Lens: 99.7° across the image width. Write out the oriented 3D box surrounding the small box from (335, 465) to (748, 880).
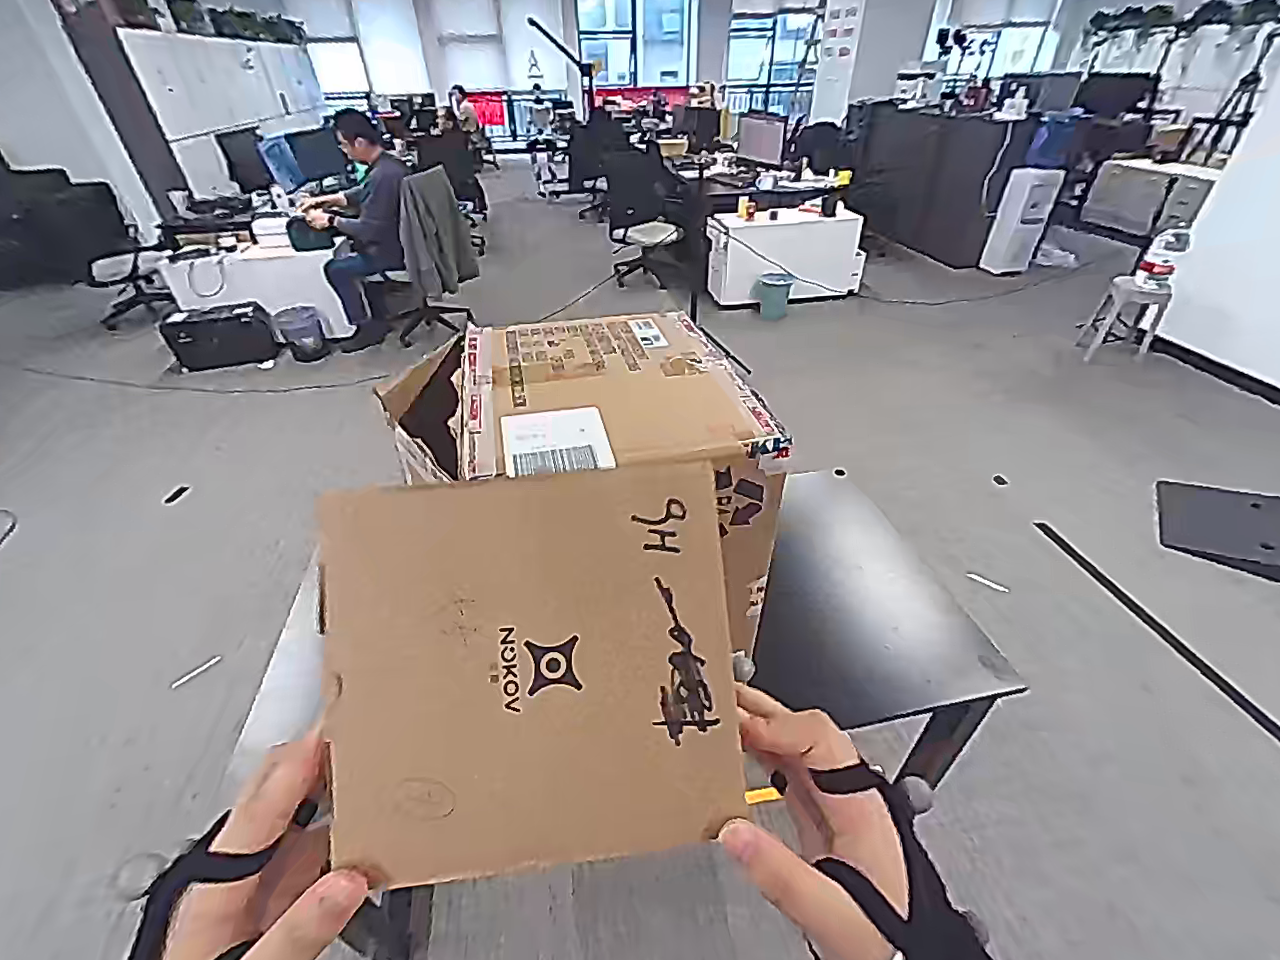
[{"bbox_3d":[-0.049,0.090,0.319,0.179,0.176,0.168,-5,83,-4],"label":"small box"}]
